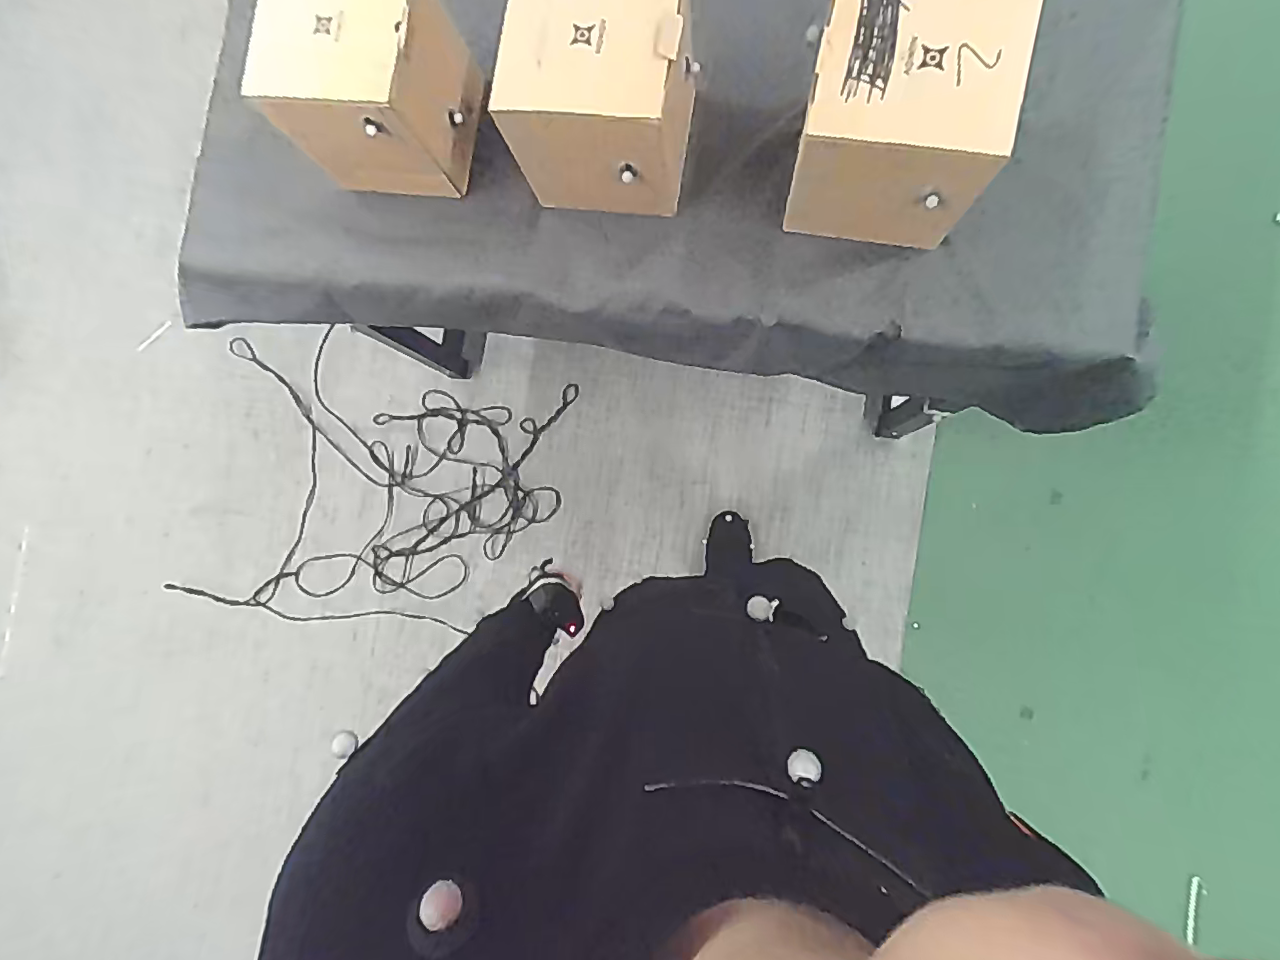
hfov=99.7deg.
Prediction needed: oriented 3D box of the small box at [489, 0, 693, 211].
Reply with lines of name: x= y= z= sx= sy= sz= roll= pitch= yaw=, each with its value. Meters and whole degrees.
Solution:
small box: x=-0.040 y=-0.424 z=0.601 sx=0.179 sy=0.176 sz=0.168 roll=8 pitch=86 yaw=10

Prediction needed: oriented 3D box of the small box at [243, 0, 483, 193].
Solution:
small box: x=-0.314 y=-0.471 z=0.645 sx=0.179 sy=0.176 sz=0.168 roll=8 pitch=87 yaw=8
